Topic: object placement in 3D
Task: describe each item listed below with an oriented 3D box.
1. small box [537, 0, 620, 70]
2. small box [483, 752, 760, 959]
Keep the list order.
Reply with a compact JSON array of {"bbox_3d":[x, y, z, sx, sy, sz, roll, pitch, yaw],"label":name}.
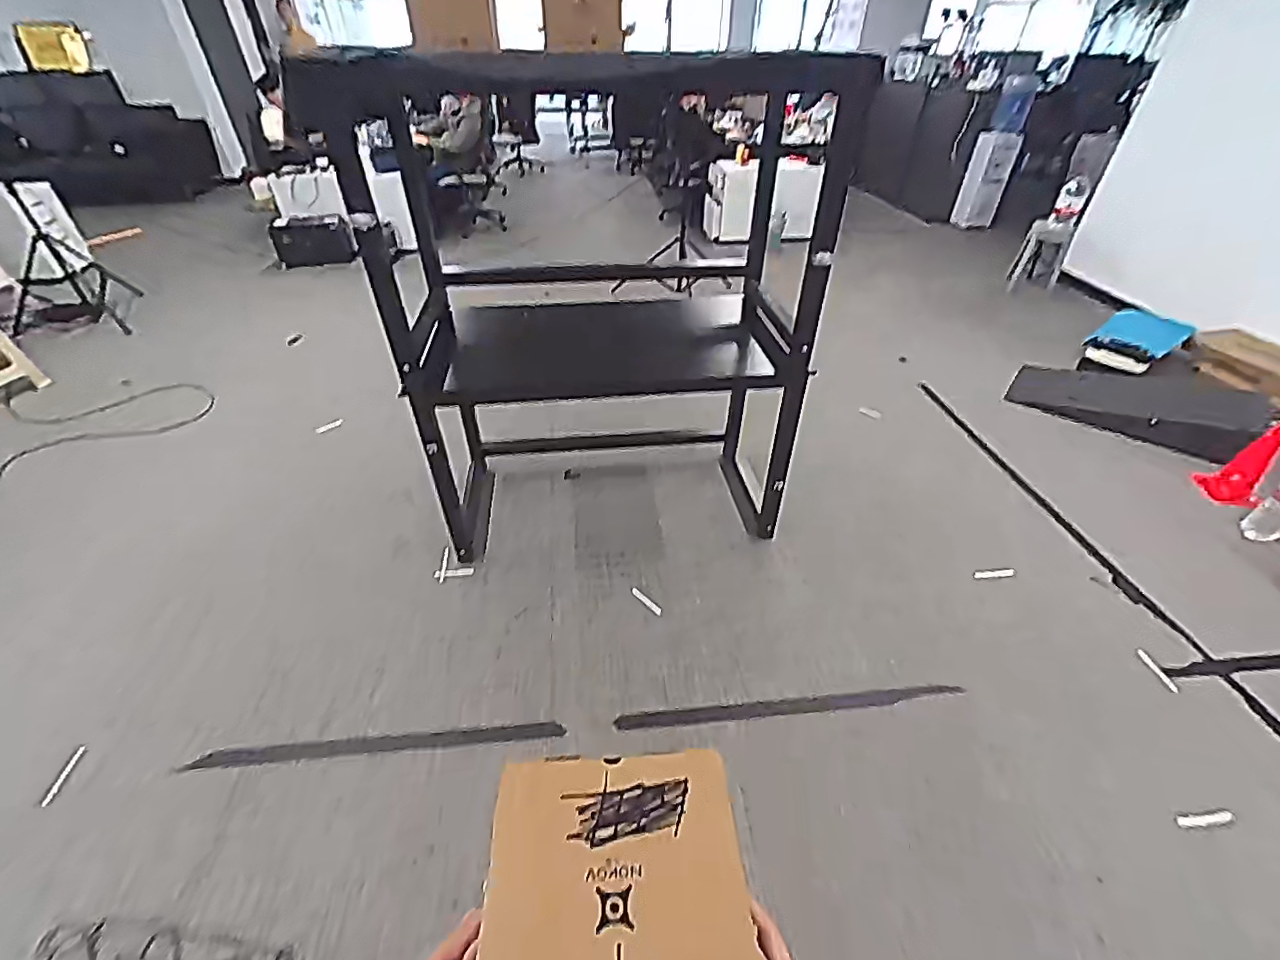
[{"bbox_3d":[-0.132,-0.991,1.164,0.168,0.176,0.179,-3,38,-5],"label":"small box"},{"bbox_3d":[-0.014,0.327,0.391,0.168,0.176,0.179,-2,36,-3],"label":"small box"}]
